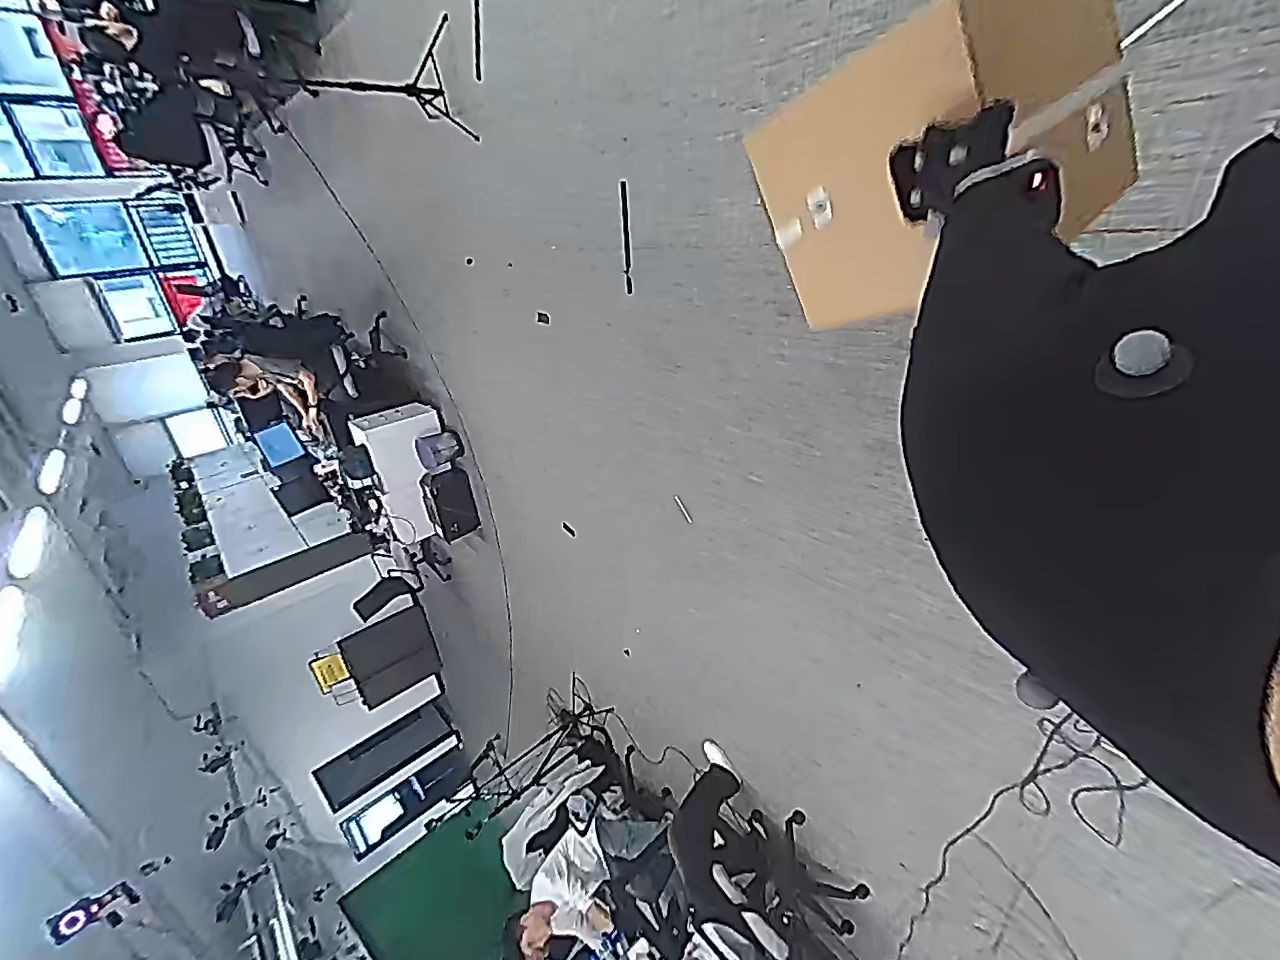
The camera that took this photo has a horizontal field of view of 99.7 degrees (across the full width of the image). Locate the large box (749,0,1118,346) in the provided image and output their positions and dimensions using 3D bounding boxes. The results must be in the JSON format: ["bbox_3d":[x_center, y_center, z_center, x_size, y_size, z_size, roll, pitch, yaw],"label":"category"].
[{"bbox_3d":[0.447,-0.455,0.832,0.320,0.408,0.320,3,125,58],"label":"large box"}]
